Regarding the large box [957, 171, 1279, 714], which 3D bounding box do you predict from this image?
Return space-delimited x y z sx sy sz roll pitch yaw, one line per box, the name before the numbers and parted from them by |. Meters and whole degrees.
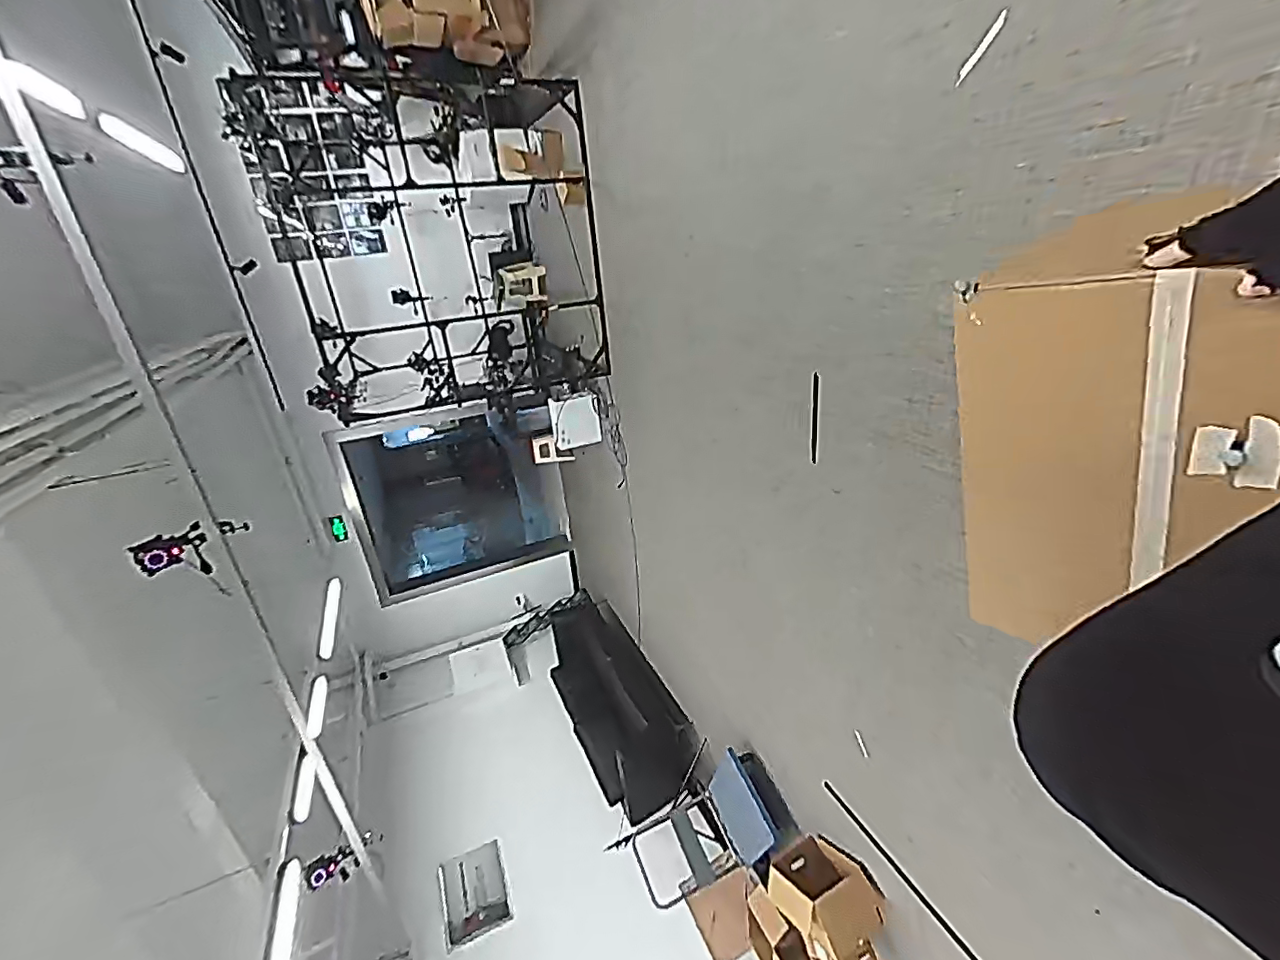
large box | 0.560 -0.056 0.523 0.320 0.320 0.408 17 131 55
